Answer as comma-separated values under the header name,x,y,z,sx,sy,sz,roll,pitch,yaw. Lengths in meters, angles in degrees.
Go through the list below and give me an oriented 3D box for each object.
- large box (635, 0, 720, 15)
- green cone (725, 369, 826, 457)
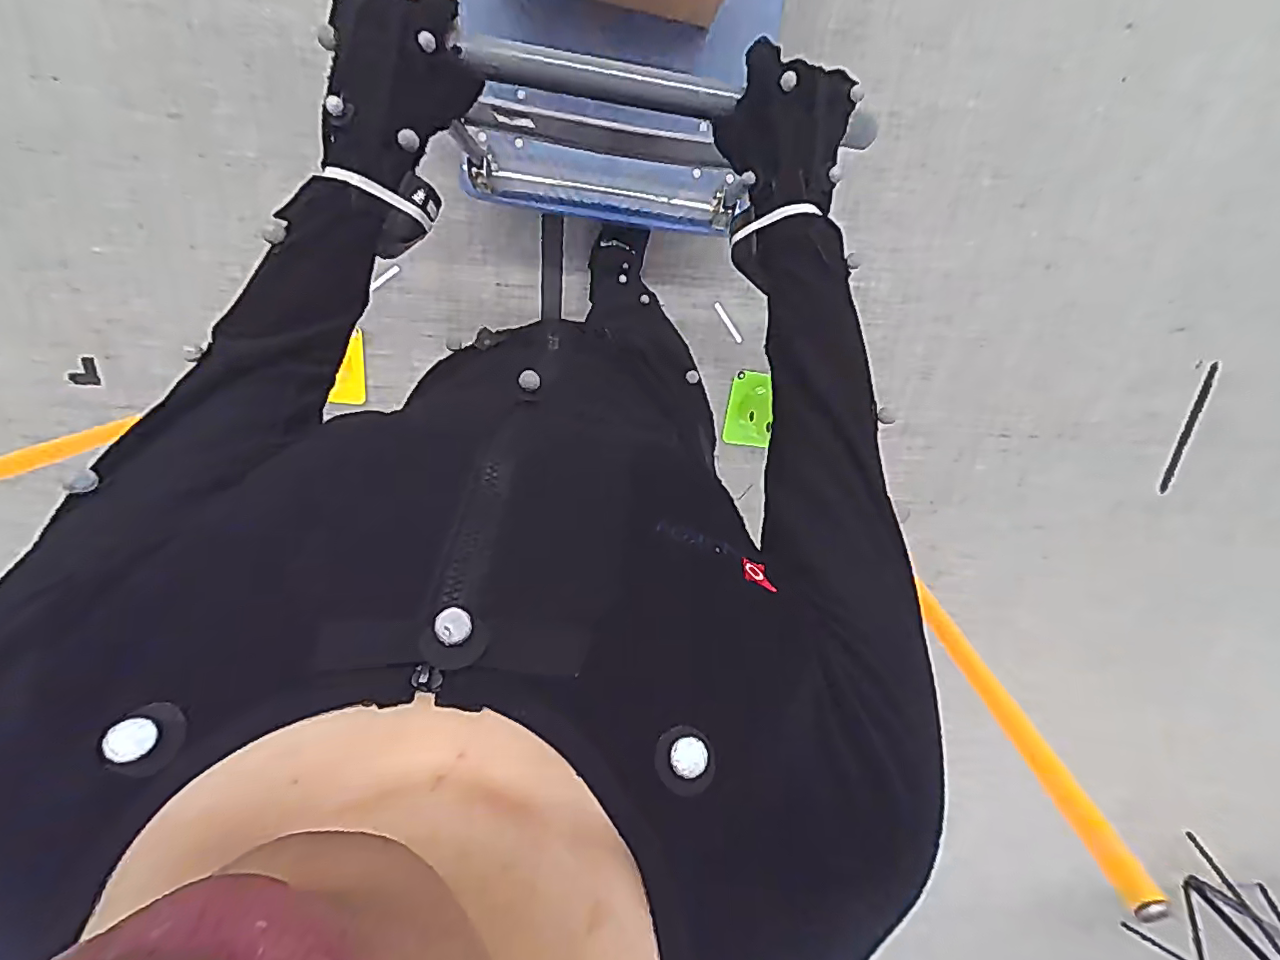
name,x,y,z,sx,sy,sz,roll,pitch,yaw
large box,-0.030,-0.954,0.782,0.408,0.320,0.320,8,112,-7
green cone,0.352,-0.129,1.297,0.202,0.368,0.200,5,111,-7
